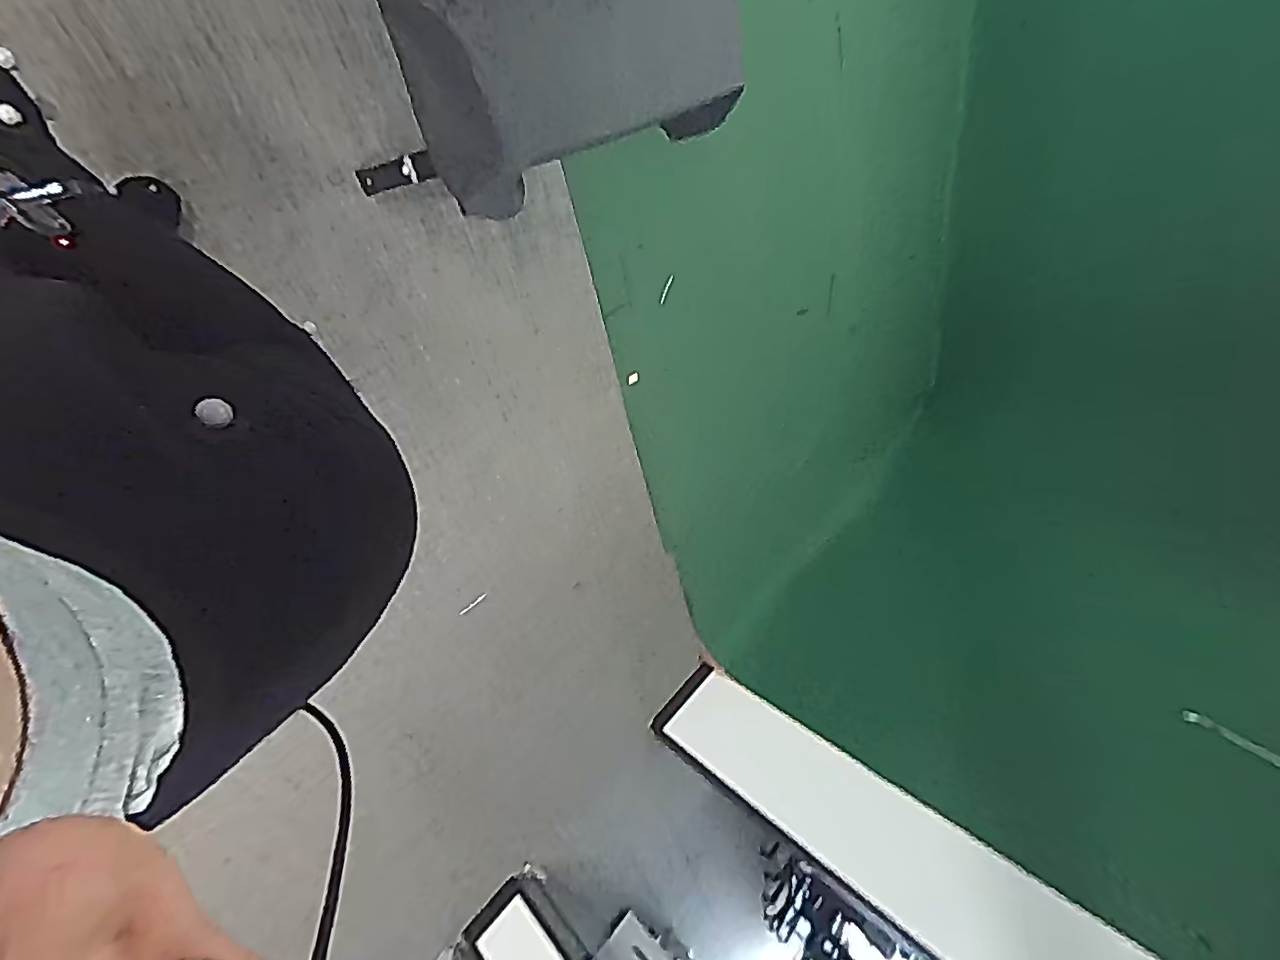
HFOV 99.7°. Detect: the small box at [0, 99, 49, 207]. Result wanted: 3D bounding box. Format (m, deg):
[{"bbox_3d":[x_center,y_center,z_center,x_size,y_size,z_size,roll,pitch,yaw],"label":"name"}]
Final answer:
[{"bbox_3d":[-0.662,-0.337,0.441,0.168,0.176,0.179,-29,94,-27],"label":"small box"}]
